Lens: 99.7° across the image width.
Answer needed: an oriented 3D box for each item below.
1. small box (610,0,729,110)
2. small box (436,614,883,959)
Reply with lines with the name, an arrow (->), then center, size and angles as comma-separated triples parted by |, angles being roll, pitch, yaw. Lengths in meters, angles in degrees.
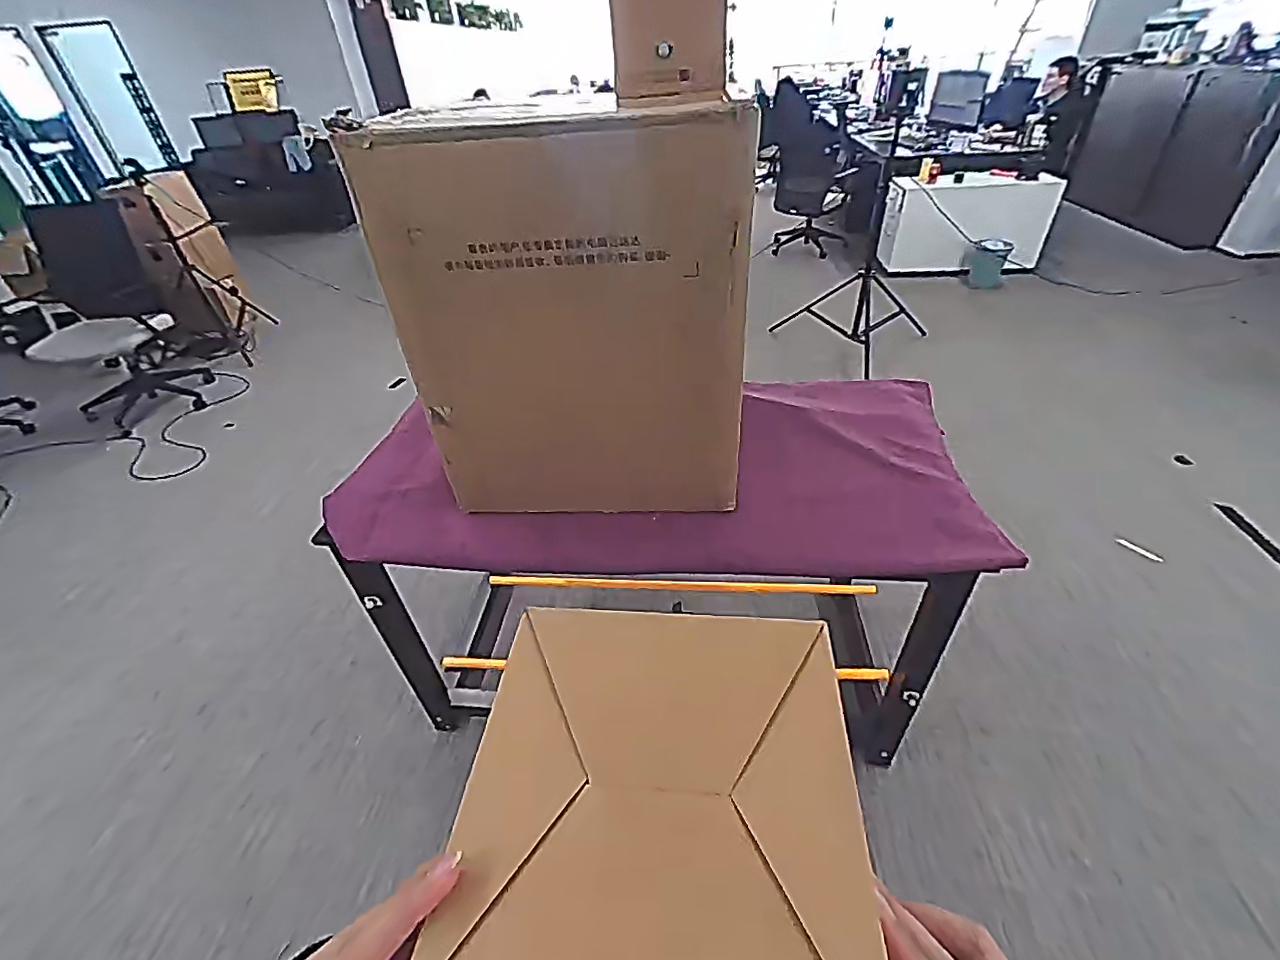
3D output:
small box -> 0.048, -0.664, 0.813 | 0.168, 0.176, 0.179 | 0, 38, 7
small box -> 0.015, 0.194, 0.285 | 0.168, 0.176, 0.179 | 1, 41, 7
